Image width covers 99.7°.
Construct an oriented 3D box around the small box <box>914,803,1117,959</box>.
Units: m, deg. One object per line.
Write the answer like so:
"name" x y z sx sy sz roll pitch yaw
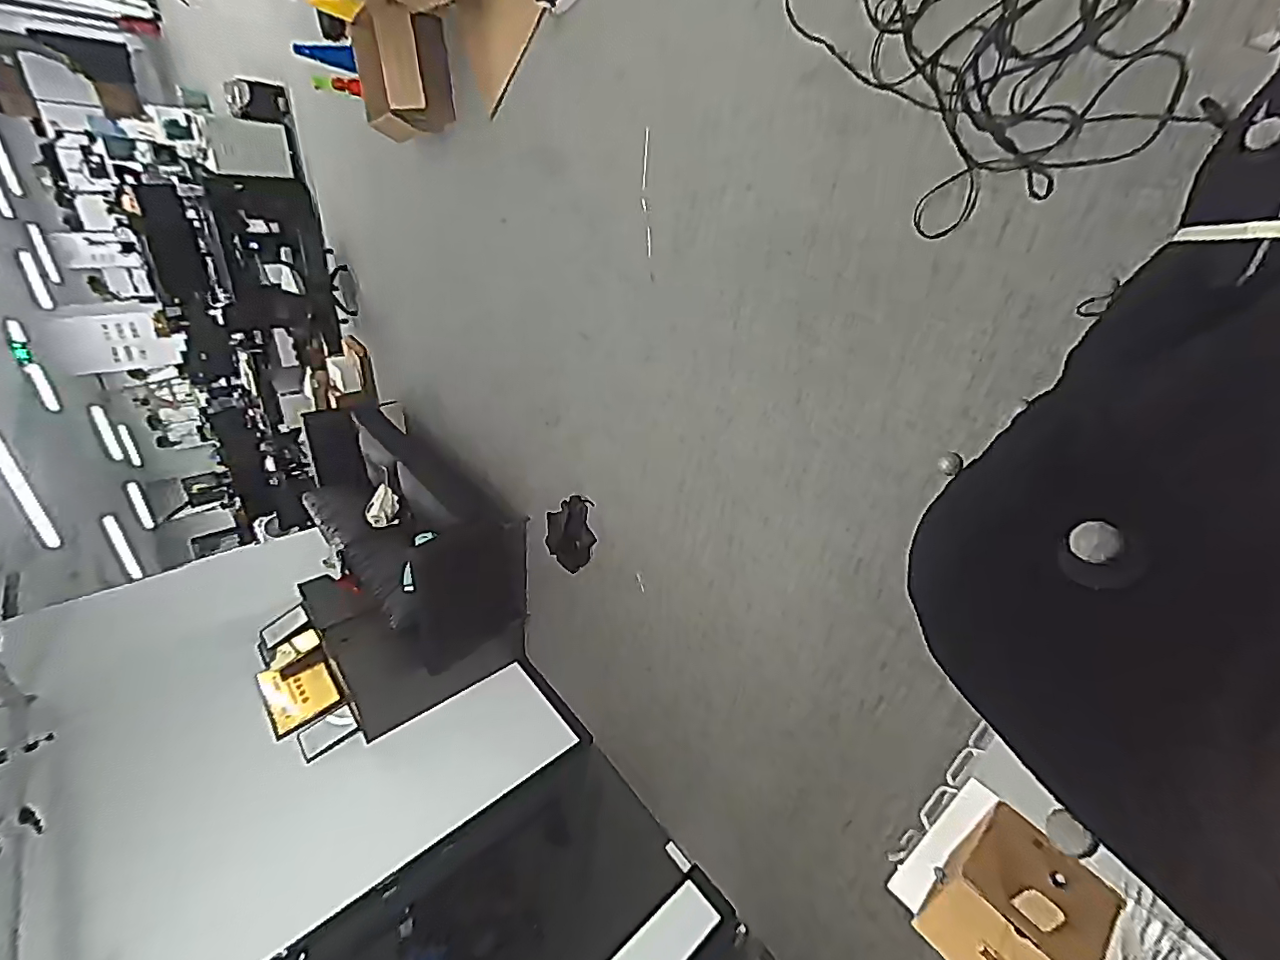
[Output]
"small box" 0.545 0.626 0.789 0.168 0.176 0.179 36 132 37
